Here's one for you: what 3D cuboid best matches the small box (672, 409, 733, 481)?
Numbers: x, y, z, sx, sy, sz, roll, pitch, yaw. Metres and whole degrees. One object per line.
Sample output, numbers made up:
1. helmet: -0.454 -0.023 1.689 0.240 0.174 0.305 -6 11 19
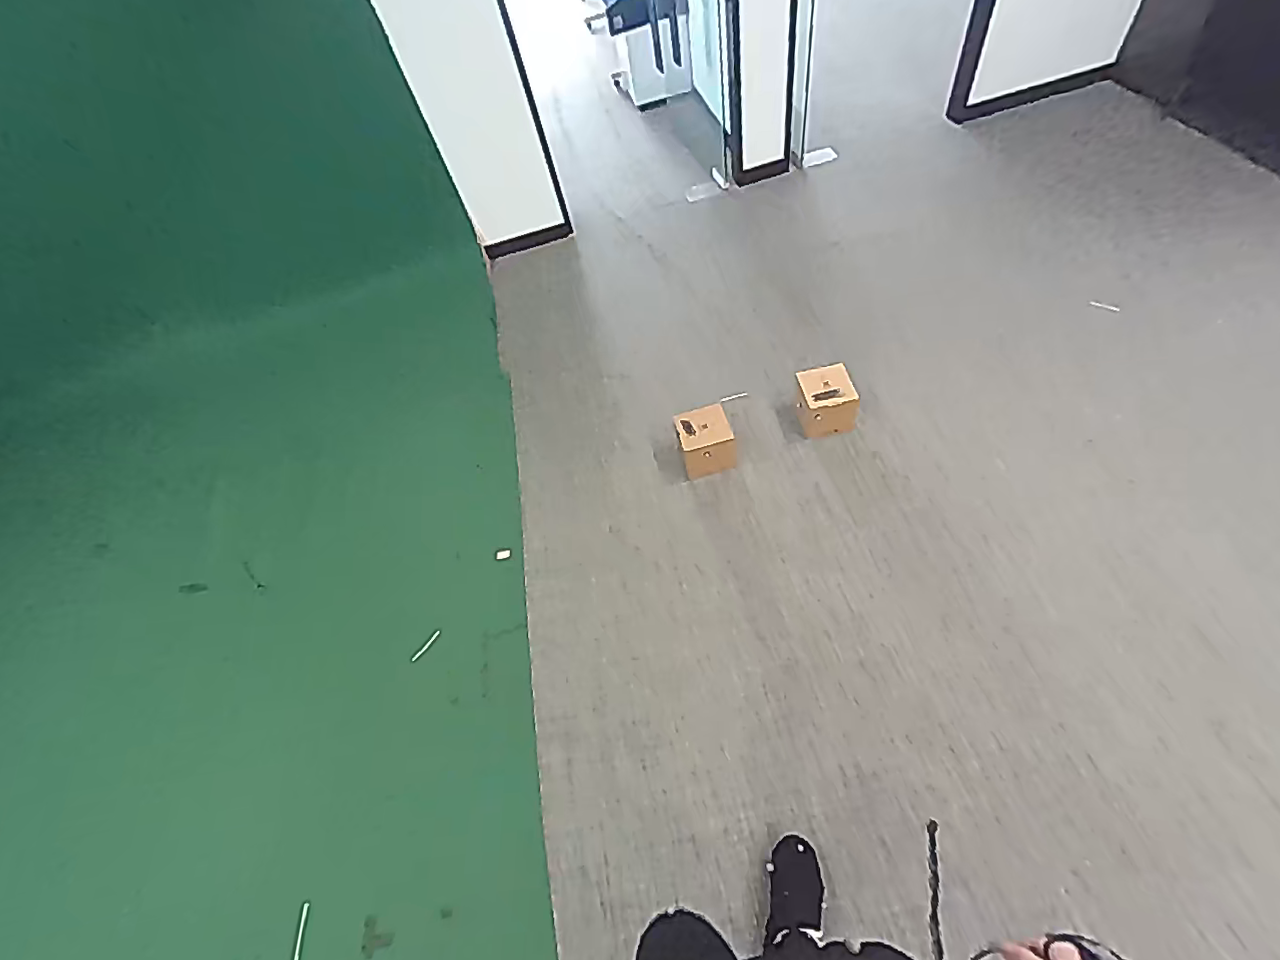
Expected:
1. small box: 0.223 -0.118 1.903 0.179 0.176 0.168 -15 54 0
